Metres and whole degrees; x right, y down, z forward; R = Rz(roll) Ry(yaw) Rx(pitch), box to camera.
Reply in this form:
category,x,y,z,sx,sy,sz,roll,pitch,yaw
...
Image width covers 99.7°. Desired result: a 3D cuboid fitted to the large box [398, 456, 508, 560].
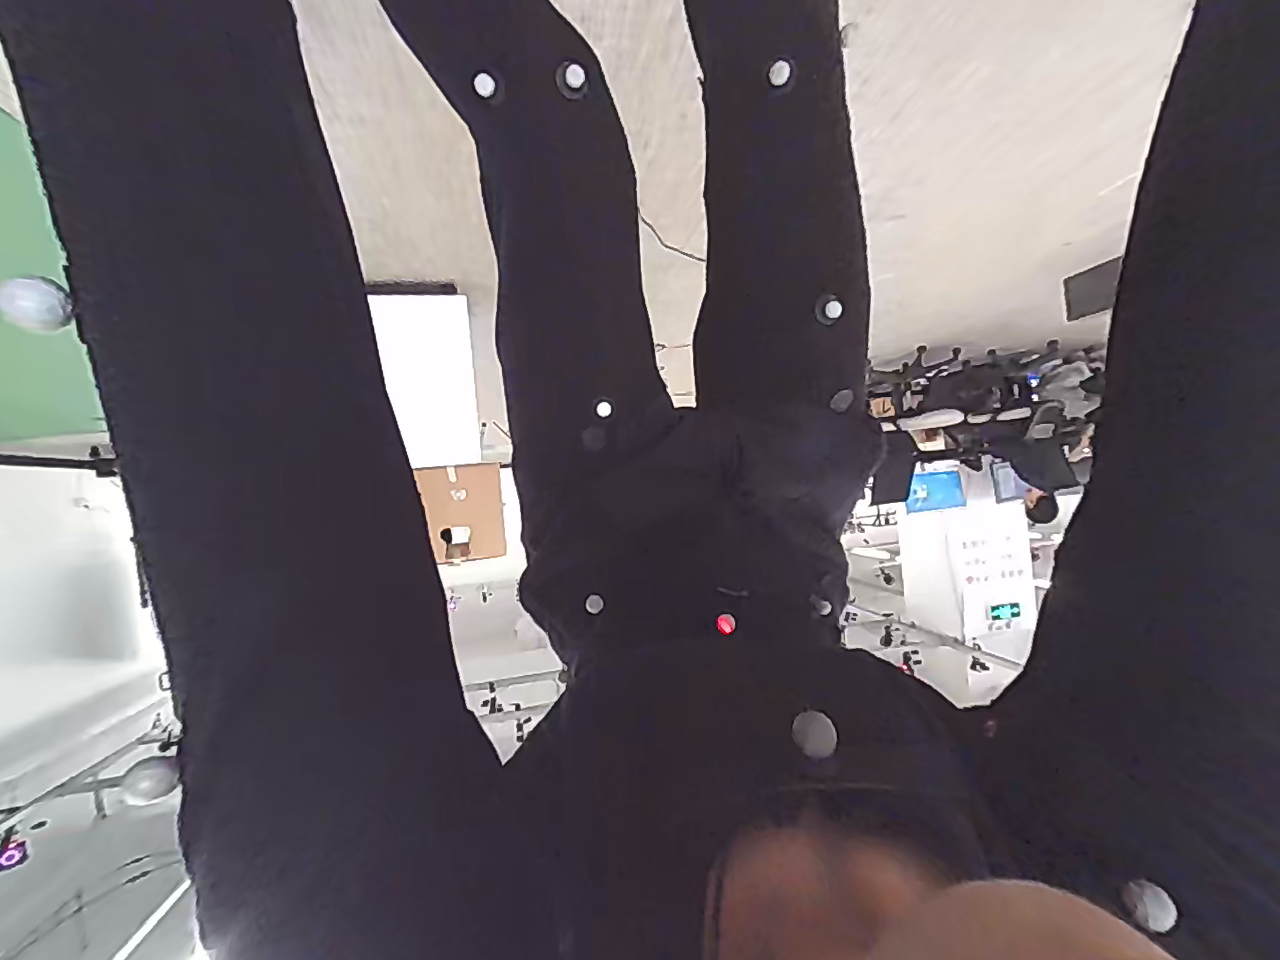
category,x,y,z,sx,sy,sz,roll,pitch,yaw
large box,-0.641,0.087,1.911,0.320,0.320,0.408,-4,180,-14
